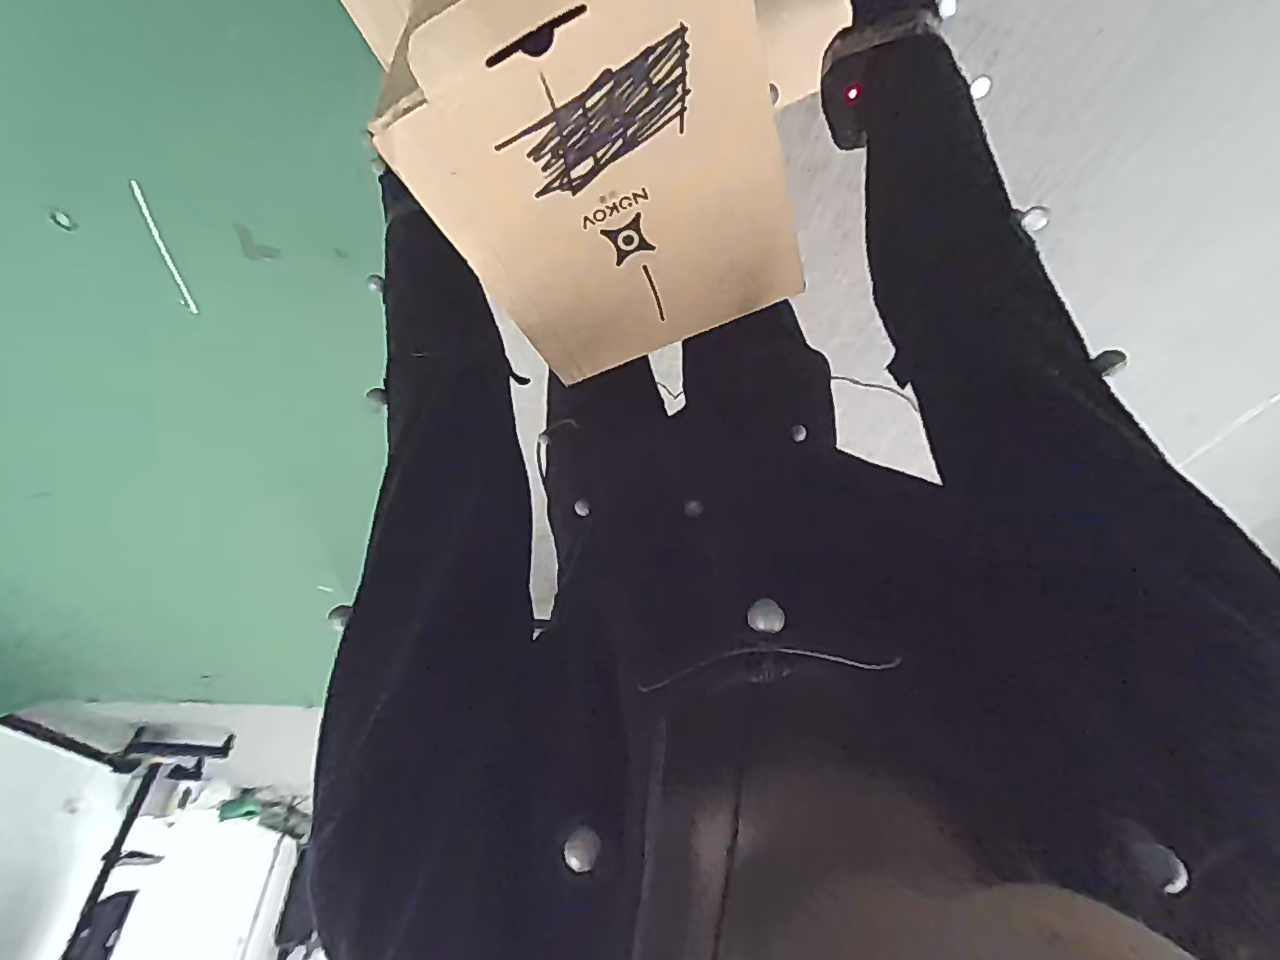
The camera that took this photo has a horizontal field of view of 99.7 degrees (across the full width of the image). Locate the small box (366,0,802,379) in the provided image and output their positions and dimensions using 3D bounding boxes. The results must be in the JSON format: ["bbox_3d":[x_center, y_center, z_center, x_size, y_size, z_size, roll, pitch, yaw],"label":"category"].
[{"bbox_3d":[-0.020,-0.198,0.316,0.168,0.176,0.179,-18,144,15],"label":"small box"}]
